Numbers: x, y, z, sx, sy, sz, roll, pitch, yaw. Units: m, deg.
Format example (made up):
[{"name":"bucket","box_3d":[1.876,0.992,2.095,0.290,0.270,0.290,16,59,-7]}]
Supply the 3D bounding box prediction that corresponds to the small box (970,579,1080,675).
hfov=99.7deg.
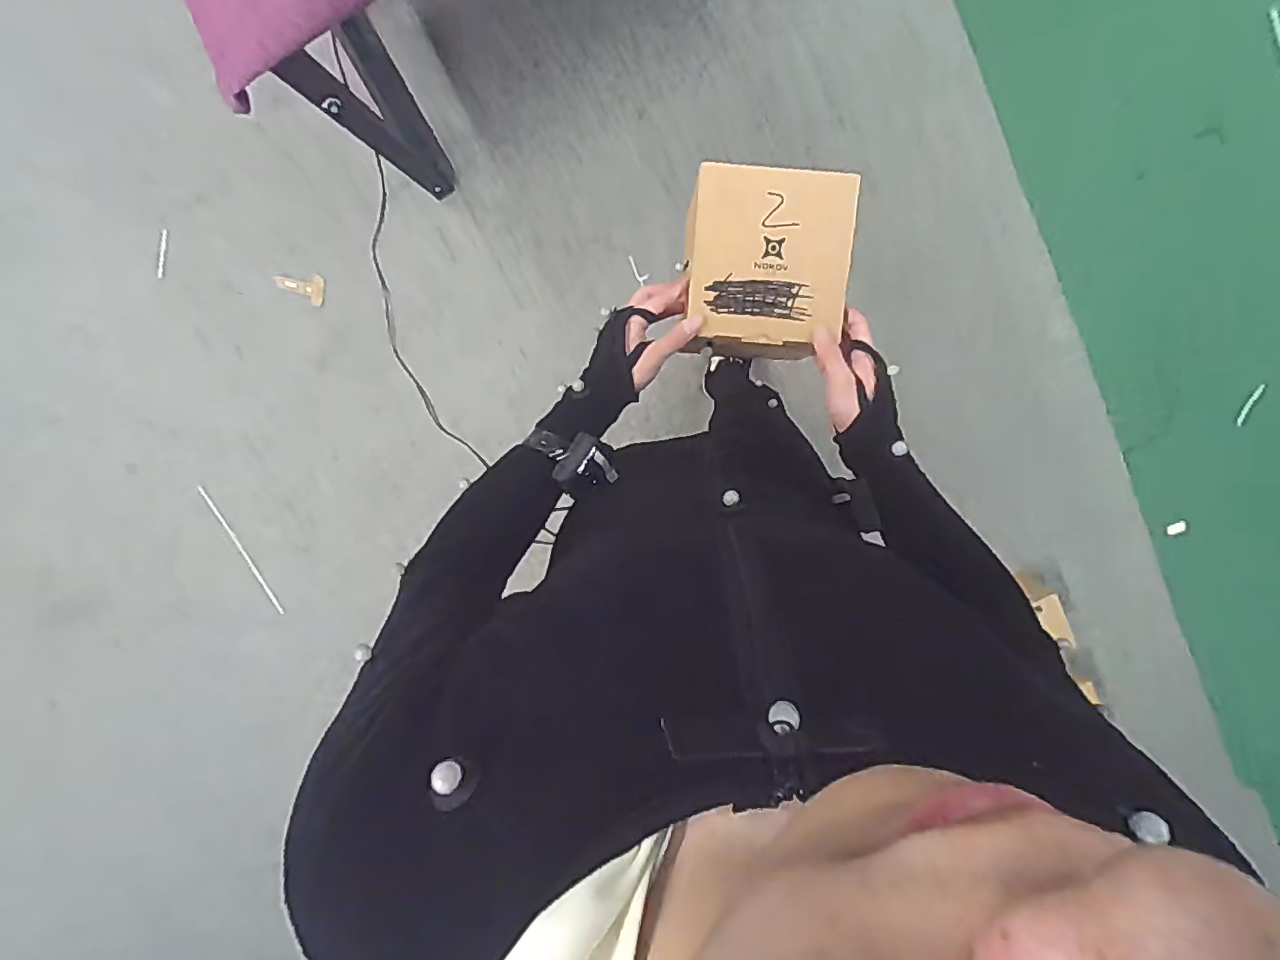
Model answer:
[{"name":"small box","box_3d":[1.081,0.410,1.531,0.168,0.176,0.179,-25,99,8]}]
